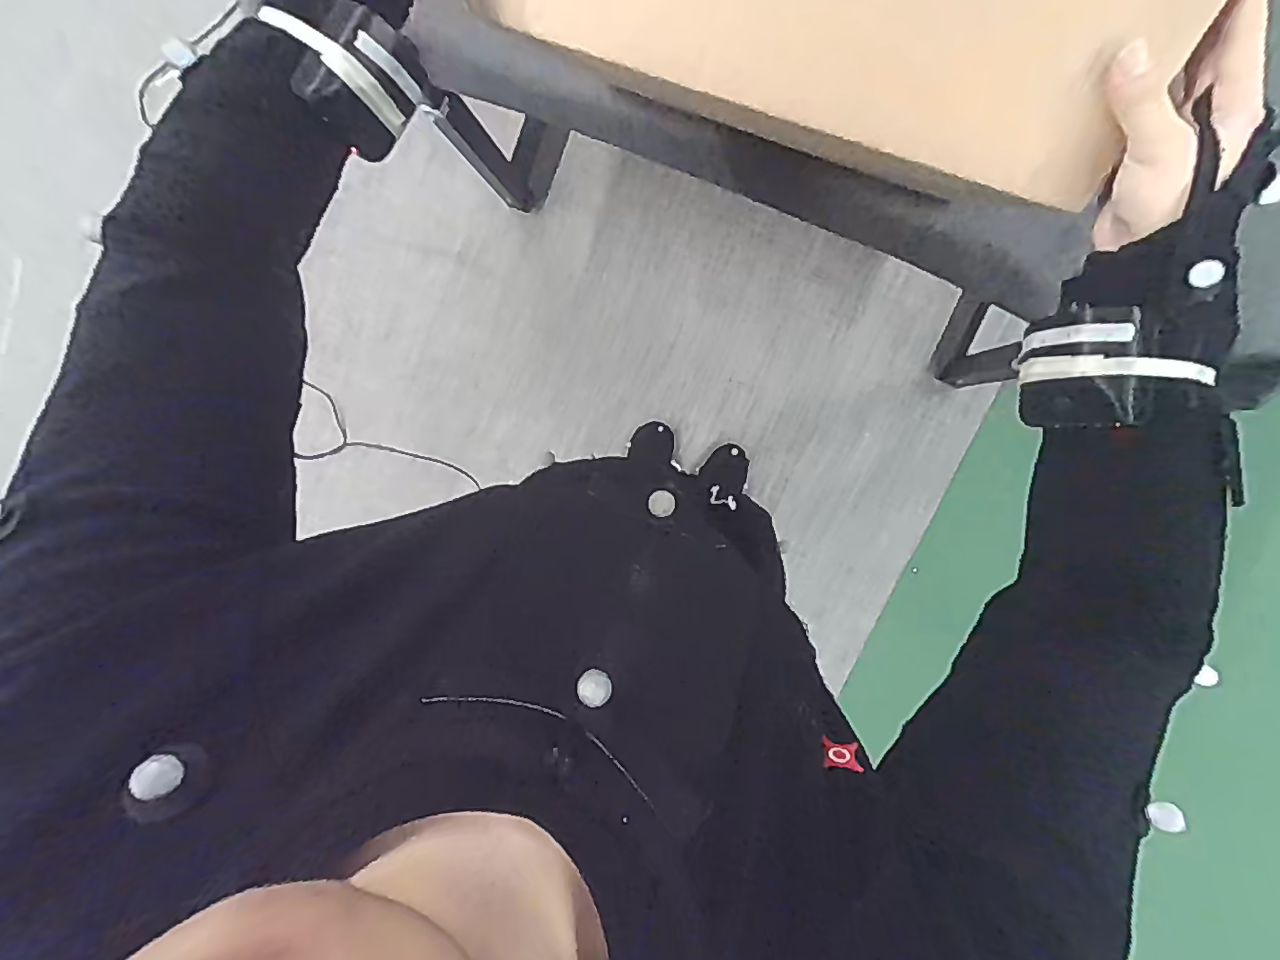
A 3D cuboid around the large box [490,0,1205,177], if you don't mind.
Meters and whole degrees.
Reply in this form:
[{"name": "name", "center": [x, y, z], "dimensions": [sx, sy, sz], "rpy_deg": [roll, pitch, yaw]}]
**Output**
[{"name": "large box", "center": [0.151, -0.436, 0.375], "dimensions": [0.408, 0.320, 0.320], "rpy_deg": [21, 123, 4]}]
